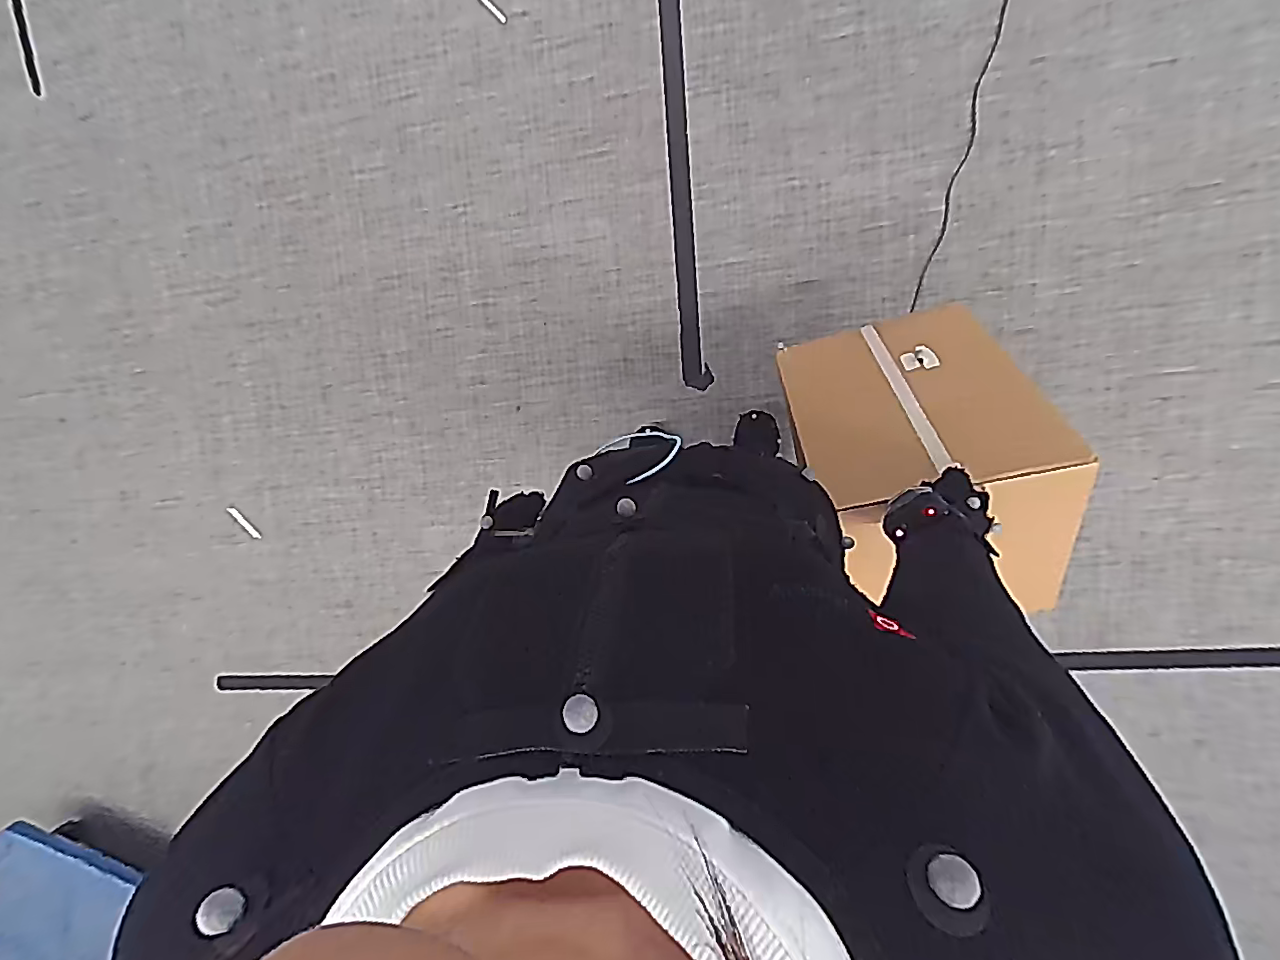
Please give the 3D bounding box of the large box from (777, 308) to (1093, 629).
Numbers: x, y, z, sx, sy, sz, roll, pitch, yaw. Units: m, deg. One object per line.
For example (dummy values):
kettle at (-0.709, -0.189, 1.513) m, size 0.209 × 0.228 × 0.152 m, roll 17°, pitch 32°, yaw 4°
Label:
large box at (0.441, -0.022, 0.905) m, size 0.320 × 0.408 × 0.320 m, roll -12°, pitch 131°, yaw 13°
